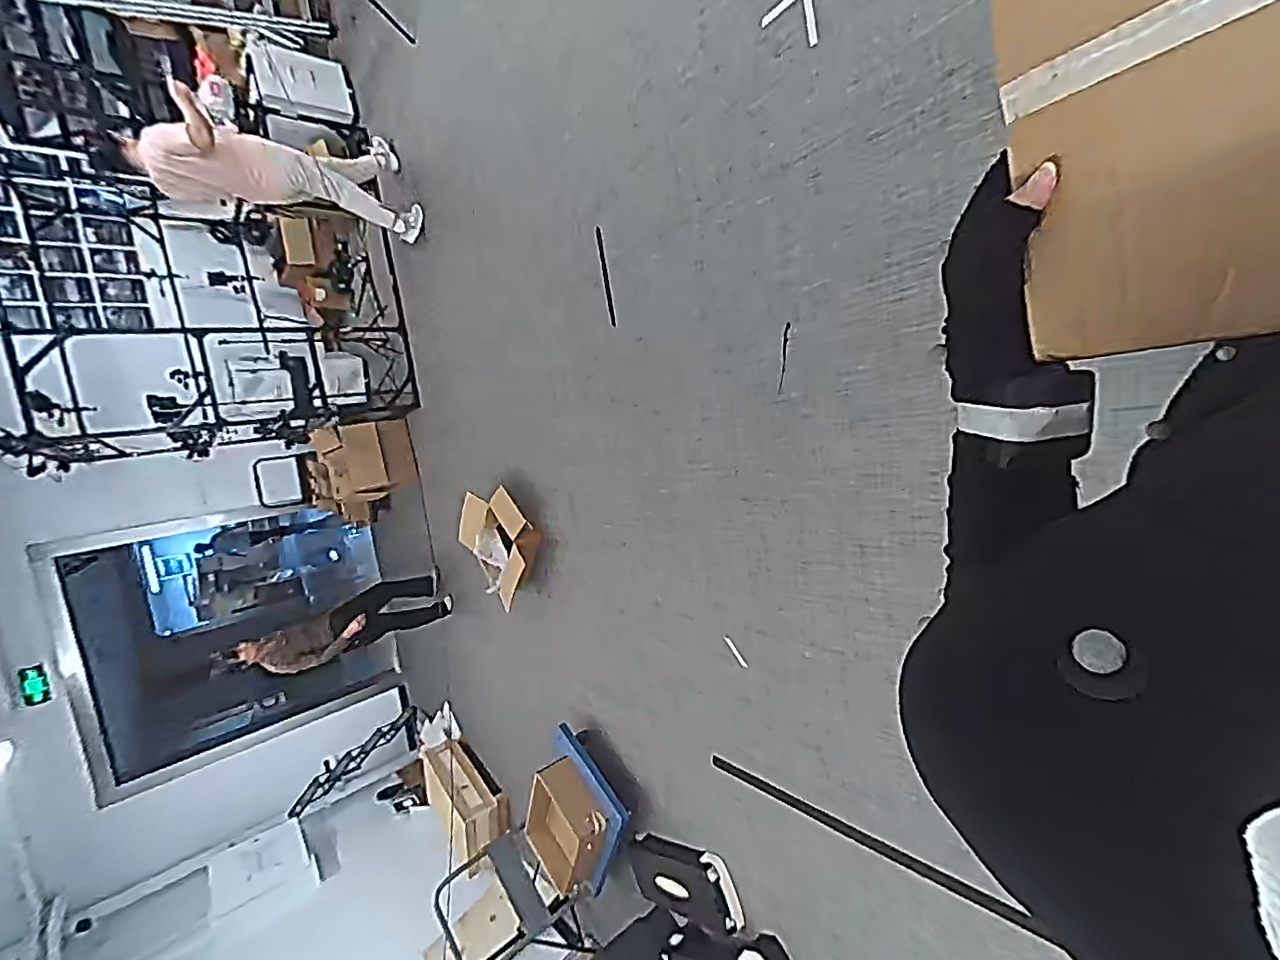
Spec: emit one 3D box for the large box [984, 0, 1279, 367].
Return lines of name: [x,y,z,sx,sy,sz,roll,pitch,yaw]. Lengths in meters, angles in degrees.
large box: [0.456,-0.270,0.260,0.408,0.320,0.320,-1,107,54]
